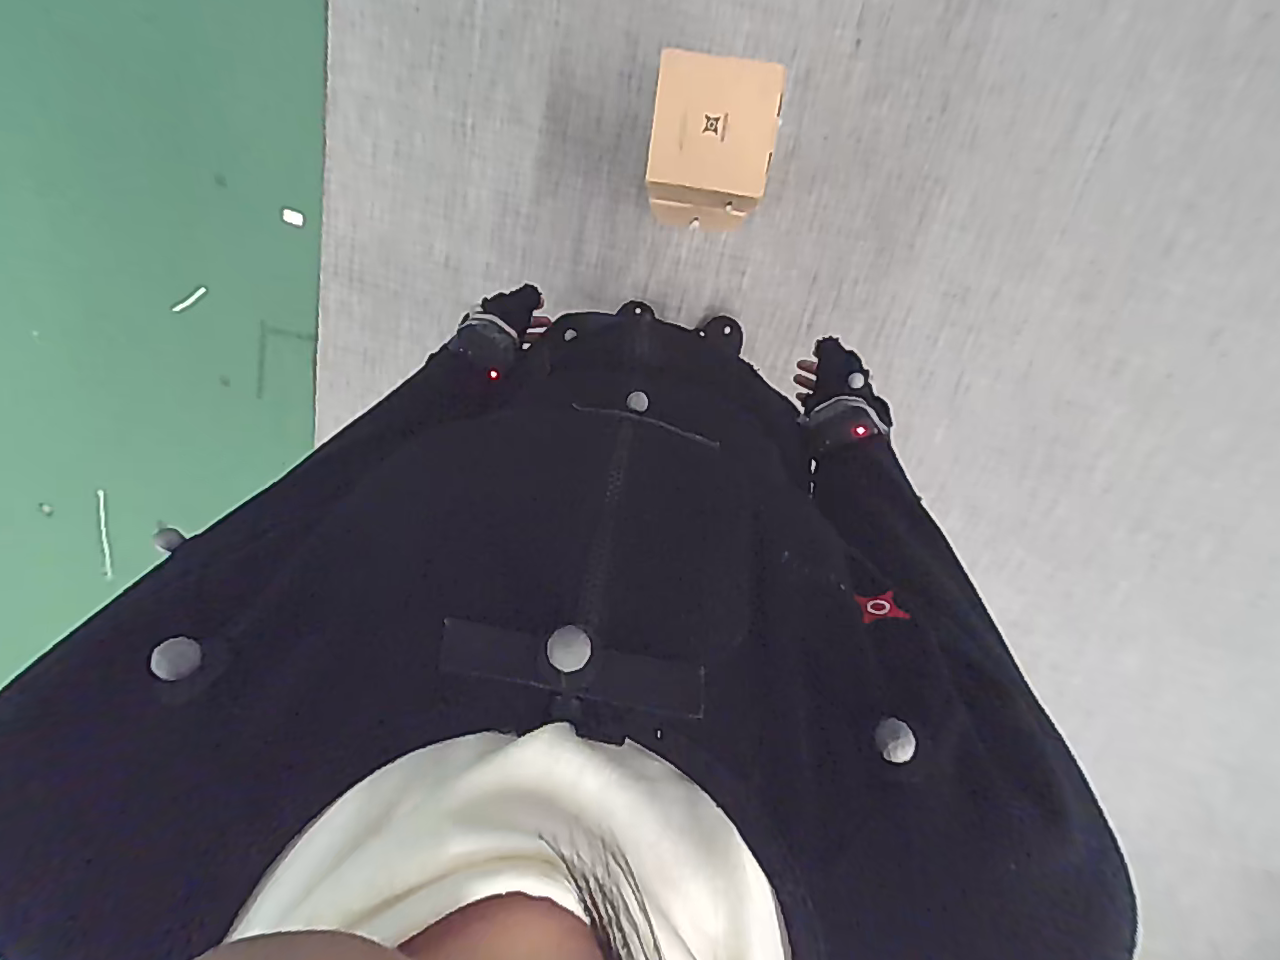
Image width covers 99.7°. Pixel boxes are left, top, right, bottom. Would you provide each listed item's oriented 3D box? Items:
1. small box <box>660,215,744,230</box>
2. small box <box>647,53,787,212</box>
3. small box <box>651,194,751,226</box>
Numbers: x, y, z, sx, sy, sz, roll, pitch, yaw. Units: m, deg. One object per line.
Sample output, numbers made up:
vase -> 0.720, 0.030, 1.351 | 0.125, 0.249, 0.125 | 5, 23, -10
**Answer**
small box -> 0.136, -0.633, 1.149 | 0.179, 0.176, 0.168 | 4, 110, 3
small box -> 0.113, -0.526, 0.842 | 0.179, 0.176, 0.168 | 9, 109, 3
small box -> 0.121, -0.575, 0.997 | 0.179, 0.176, 0.168 | 9, 110, 1
